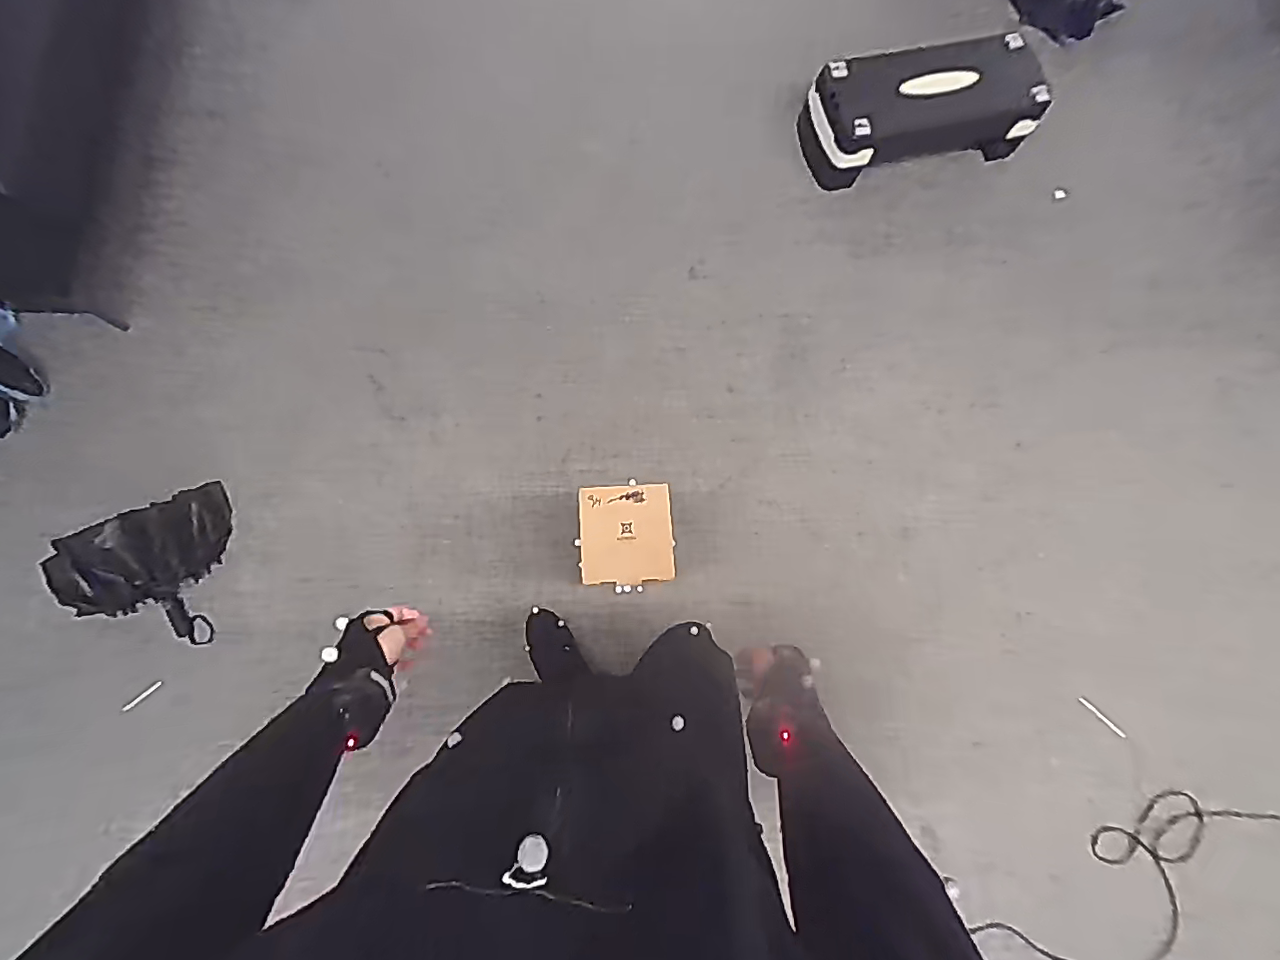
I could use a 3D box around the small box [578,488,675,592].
[{"bbox_3d":[-0.027,0.117,1.033,0.168,0.176,0.179,-4,80,-4],"label":"small box"}]
